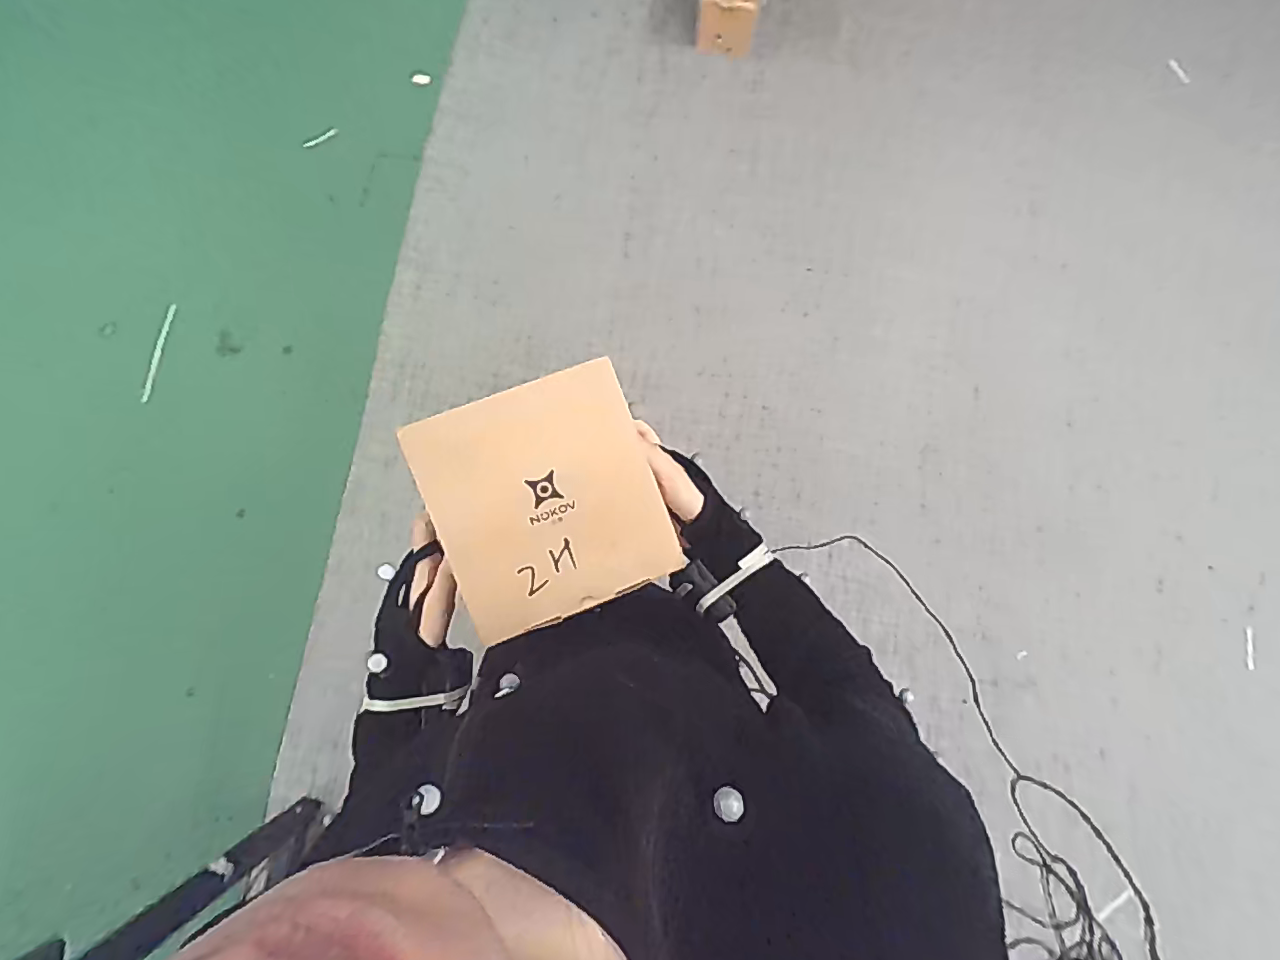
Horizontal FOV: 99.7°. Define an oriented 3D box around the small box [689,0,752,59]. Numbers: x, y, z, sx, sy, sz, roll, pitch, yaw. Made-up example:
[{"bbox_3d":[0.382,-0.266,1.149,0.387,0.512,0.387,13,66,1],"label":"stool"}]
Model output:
[{"bbox_3d":[0.253,-1.458,1.664,0.168,0.176,0.179,14,83,2],"label":"small box"}]
